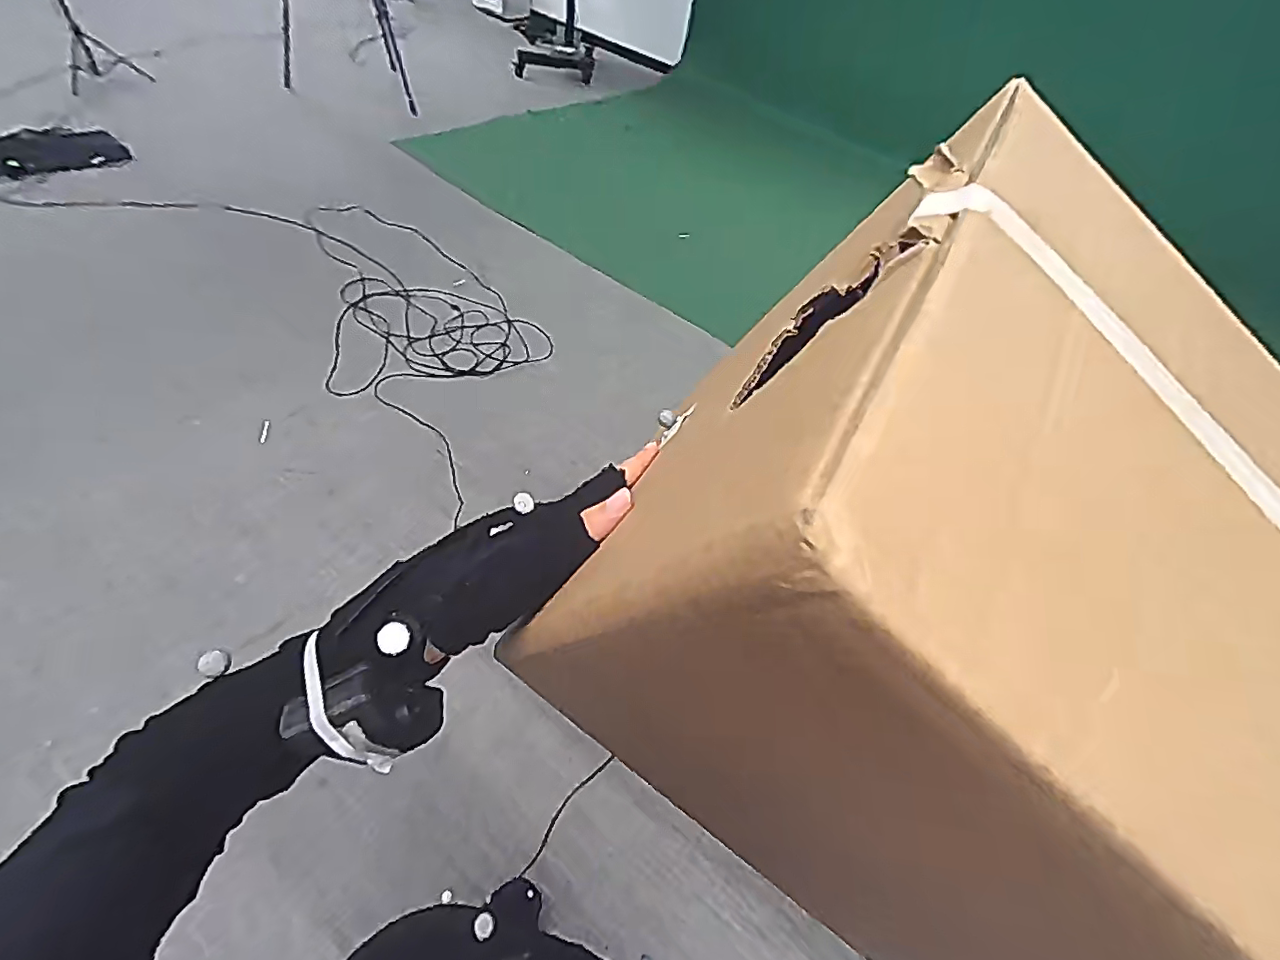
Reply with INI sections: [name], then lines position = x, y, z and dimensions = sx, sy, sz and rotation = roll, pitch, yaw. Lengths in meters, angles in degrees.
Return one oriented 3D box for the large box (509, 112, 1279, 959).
[large box]
position = 0.192, 0.086, 0.347
dimensions = 0.408, 0.320, 0.320
rotation = 42, 58, -6
